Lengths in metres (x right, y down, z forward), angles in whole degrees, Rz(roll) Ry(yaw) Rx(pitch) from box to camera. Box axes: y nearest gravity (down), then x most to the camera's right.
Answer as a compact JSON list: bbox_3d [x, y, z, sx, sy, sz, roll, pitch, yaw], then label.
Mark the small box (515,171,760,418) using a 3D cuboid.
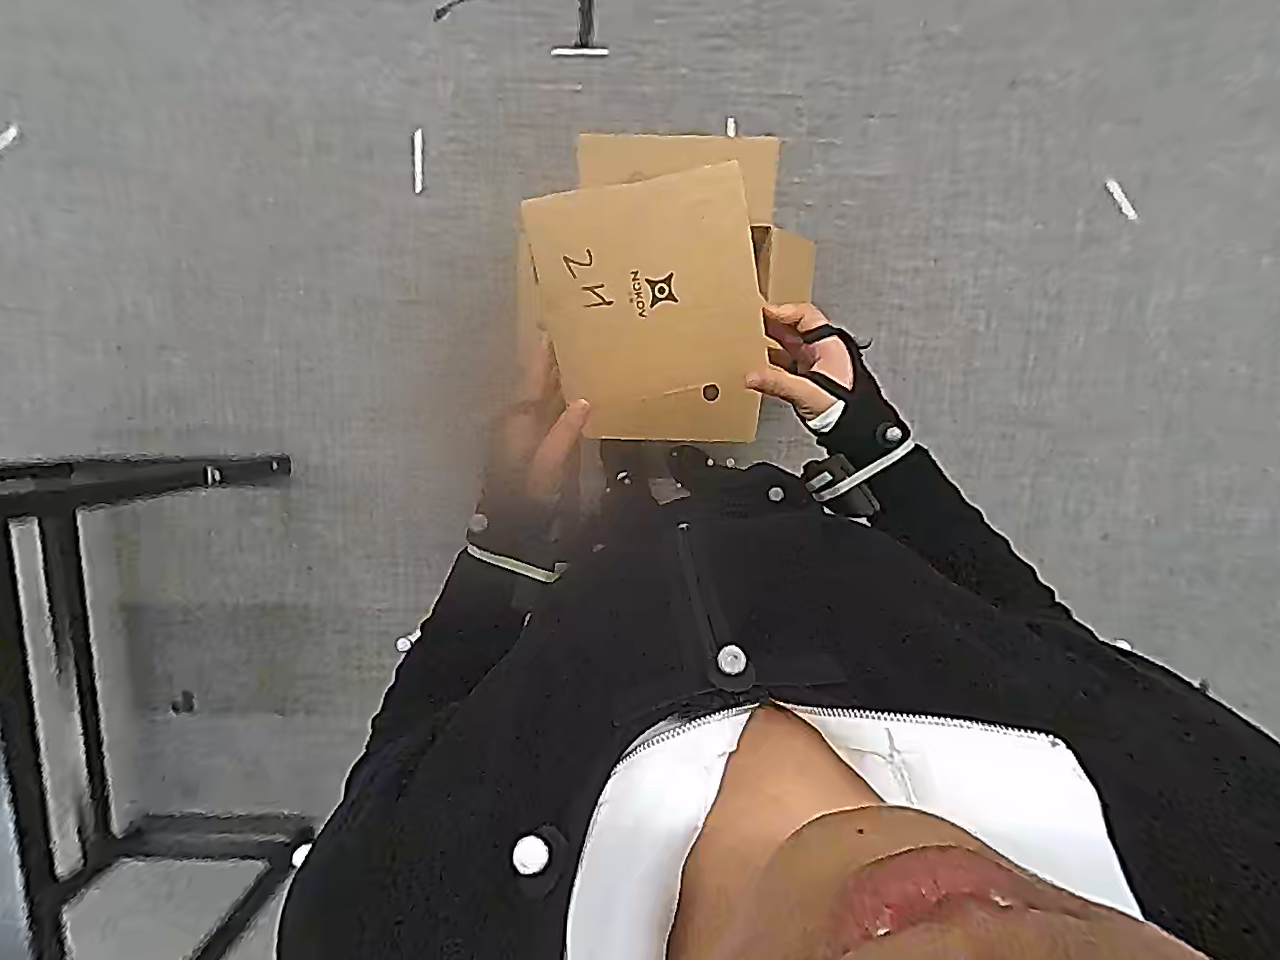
[{"bbox_3d":[-0.005,-0.165,0.514,0.179,0.176,0.168,-13,104,-1],"label":"small box"}]
